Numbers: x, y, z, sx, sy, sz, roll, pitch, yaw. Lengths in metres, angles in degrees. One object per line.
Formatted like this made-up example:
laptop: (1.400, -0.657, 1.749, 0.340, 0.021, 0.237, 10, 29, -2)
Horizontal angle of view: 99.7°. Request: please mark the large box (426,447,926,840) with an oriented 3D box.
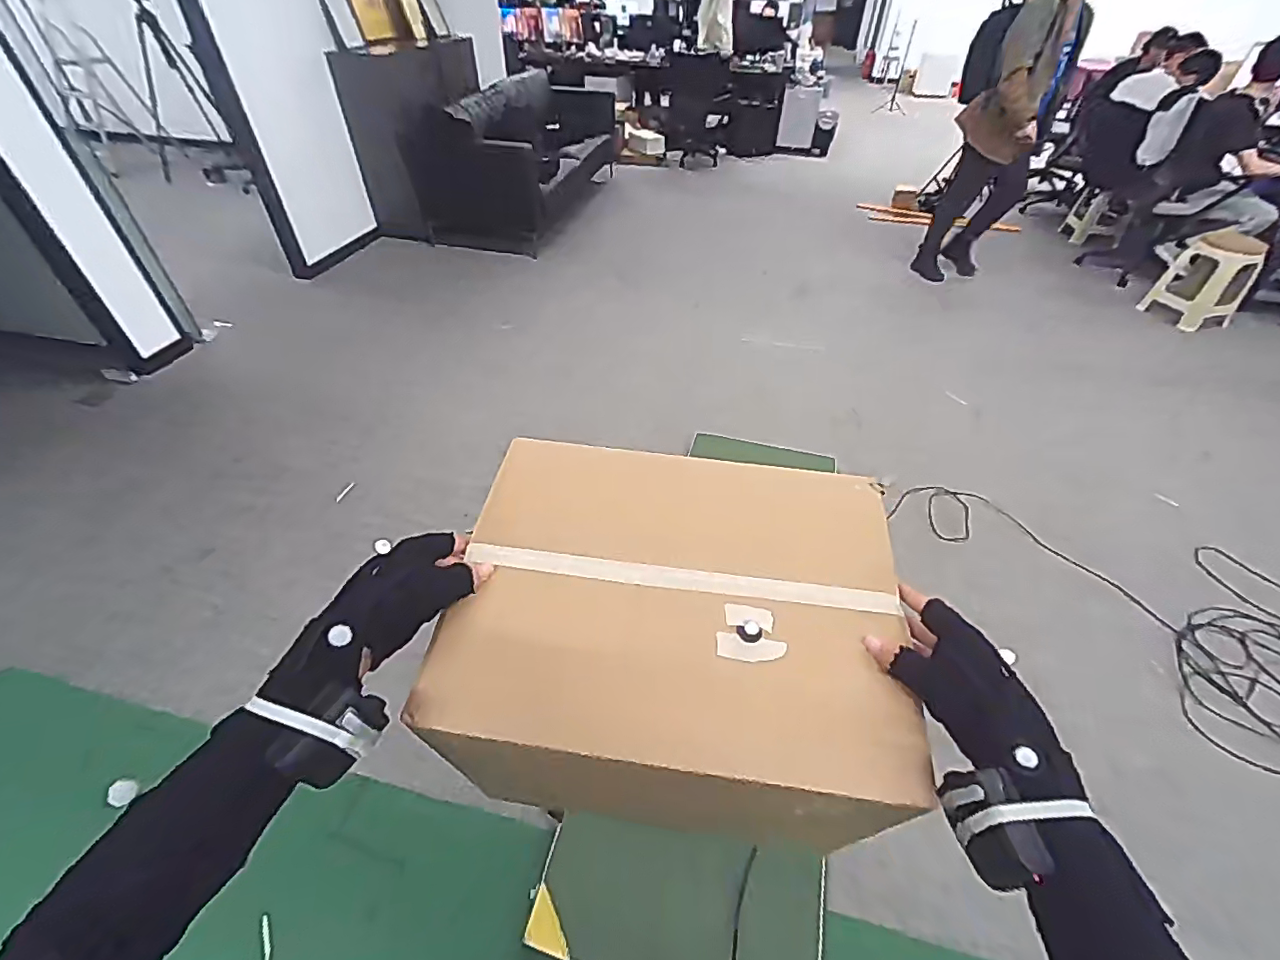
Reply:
large box: (0.036, 0.192, 0.629, 0.408, 0.320, 0.320, 7, 51, 4)
